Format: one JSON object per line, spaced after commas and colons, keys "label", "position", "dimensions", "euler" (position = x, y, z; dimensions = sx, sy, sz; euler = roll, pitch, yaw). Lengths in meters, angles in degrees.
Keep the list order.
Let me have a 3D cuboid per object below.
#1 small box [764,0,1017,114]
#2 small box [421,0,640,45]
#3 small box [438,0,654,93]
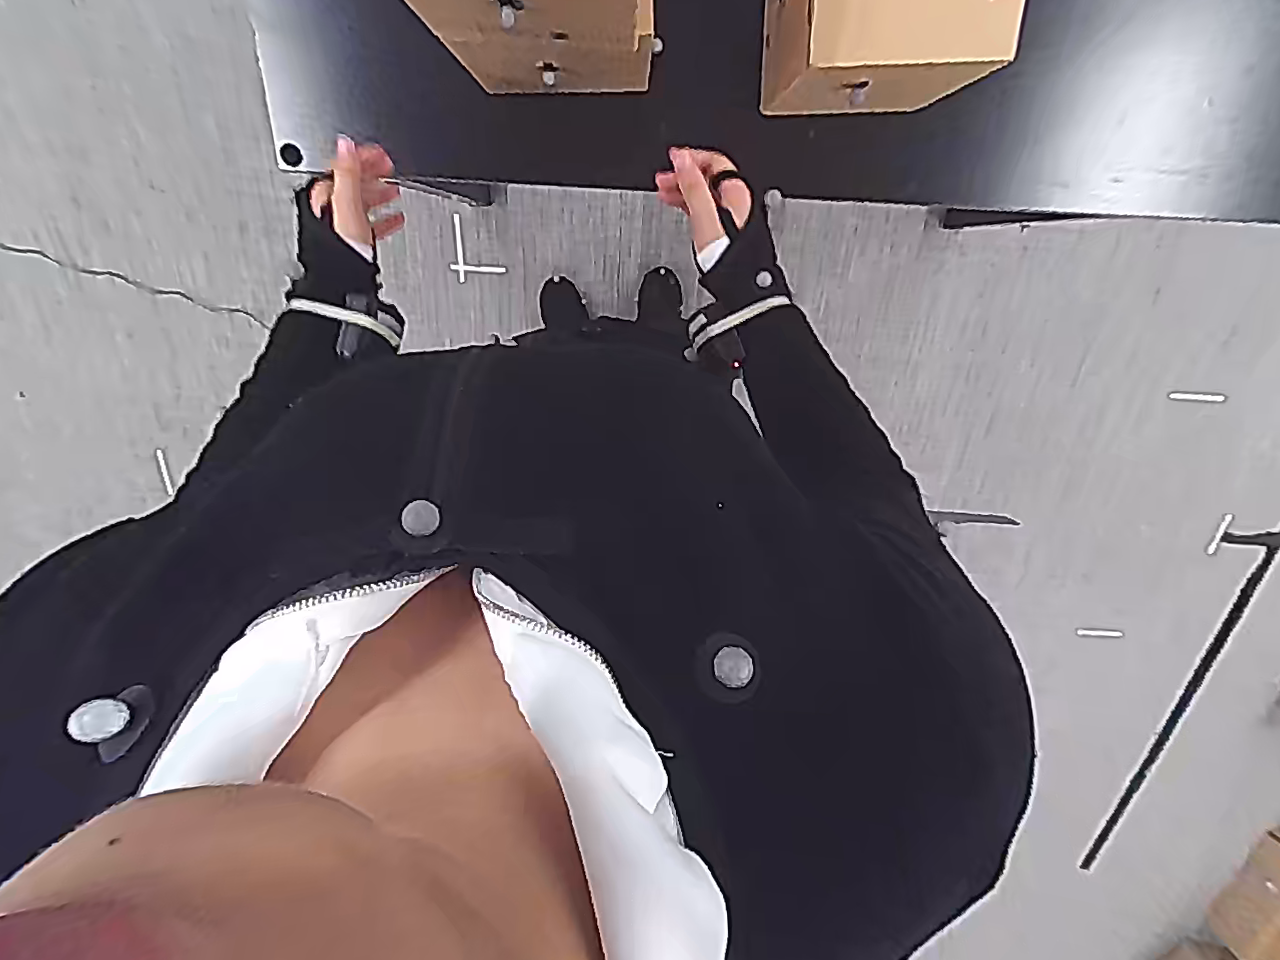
{"label": "small box", "position": [0.217, -0.454, 0.497], "dimensions": [0.179, 0.176, 0.168], "euler": [-2, 112, 1]}
{"label": "small box", "position": [-0.077, -0.404, 0.333], "dimensions": [0.168, 0.176, 0.179], "euler": [3, 112, -3]}
{"label": "small box", "position": [-0.078, -0.468, 0.485], "dimensions": [0.179, 0.176, 0.168], "euler": [-1, 112, 0]}
